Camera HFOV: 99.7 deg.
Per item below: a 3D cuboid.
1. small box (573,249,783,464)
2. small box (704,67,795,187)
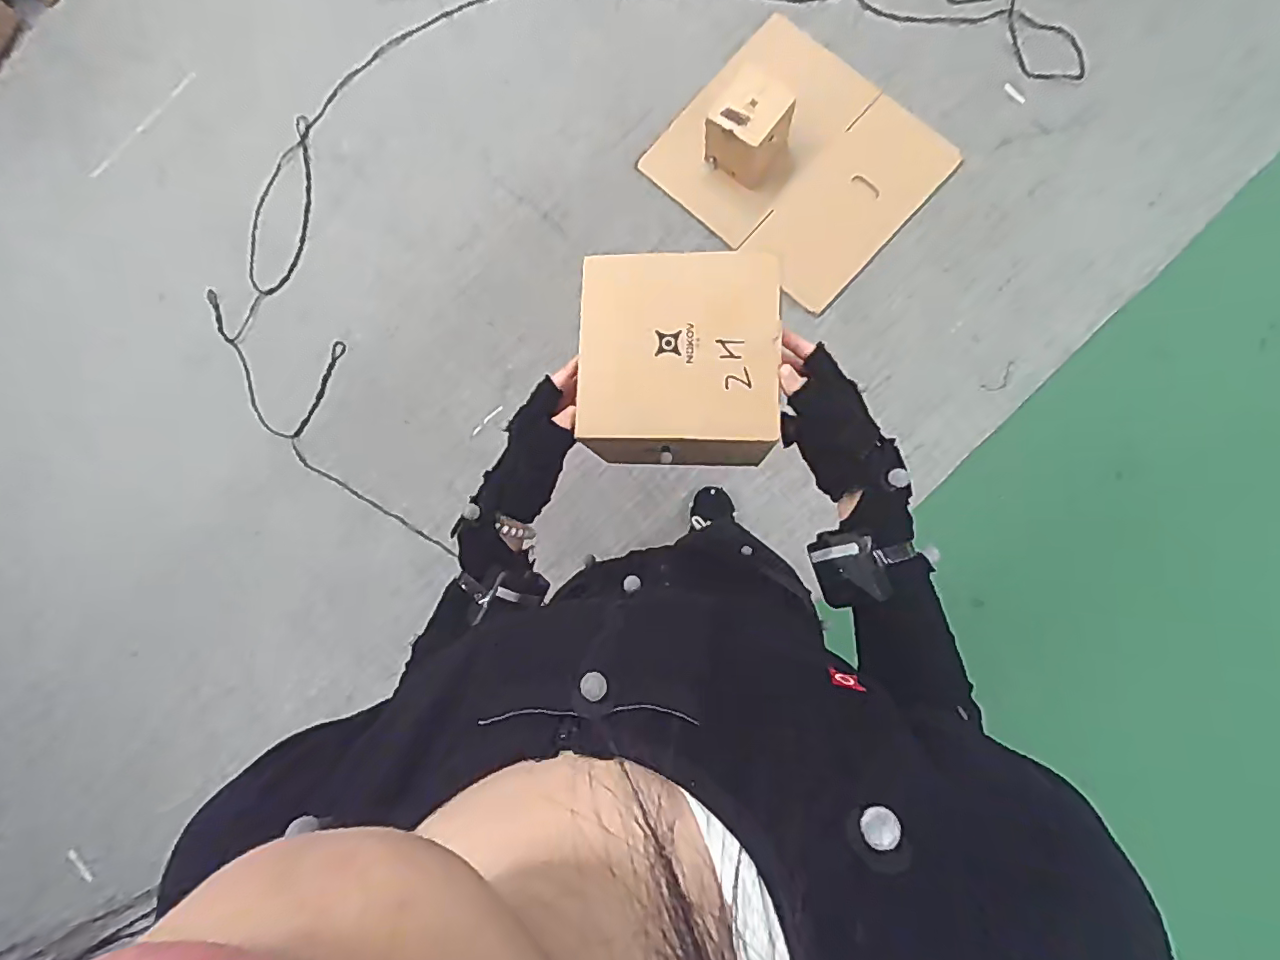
[{"bbox_3d":[0.042,-0.109,0.540,0.179,0.176,0.168,2,84,6],"label":"small box"},{"bbox_3d":[0.289,-0.942,1.460,0.168,0.176,0.179,38,89,8],"label":"small box"}]
